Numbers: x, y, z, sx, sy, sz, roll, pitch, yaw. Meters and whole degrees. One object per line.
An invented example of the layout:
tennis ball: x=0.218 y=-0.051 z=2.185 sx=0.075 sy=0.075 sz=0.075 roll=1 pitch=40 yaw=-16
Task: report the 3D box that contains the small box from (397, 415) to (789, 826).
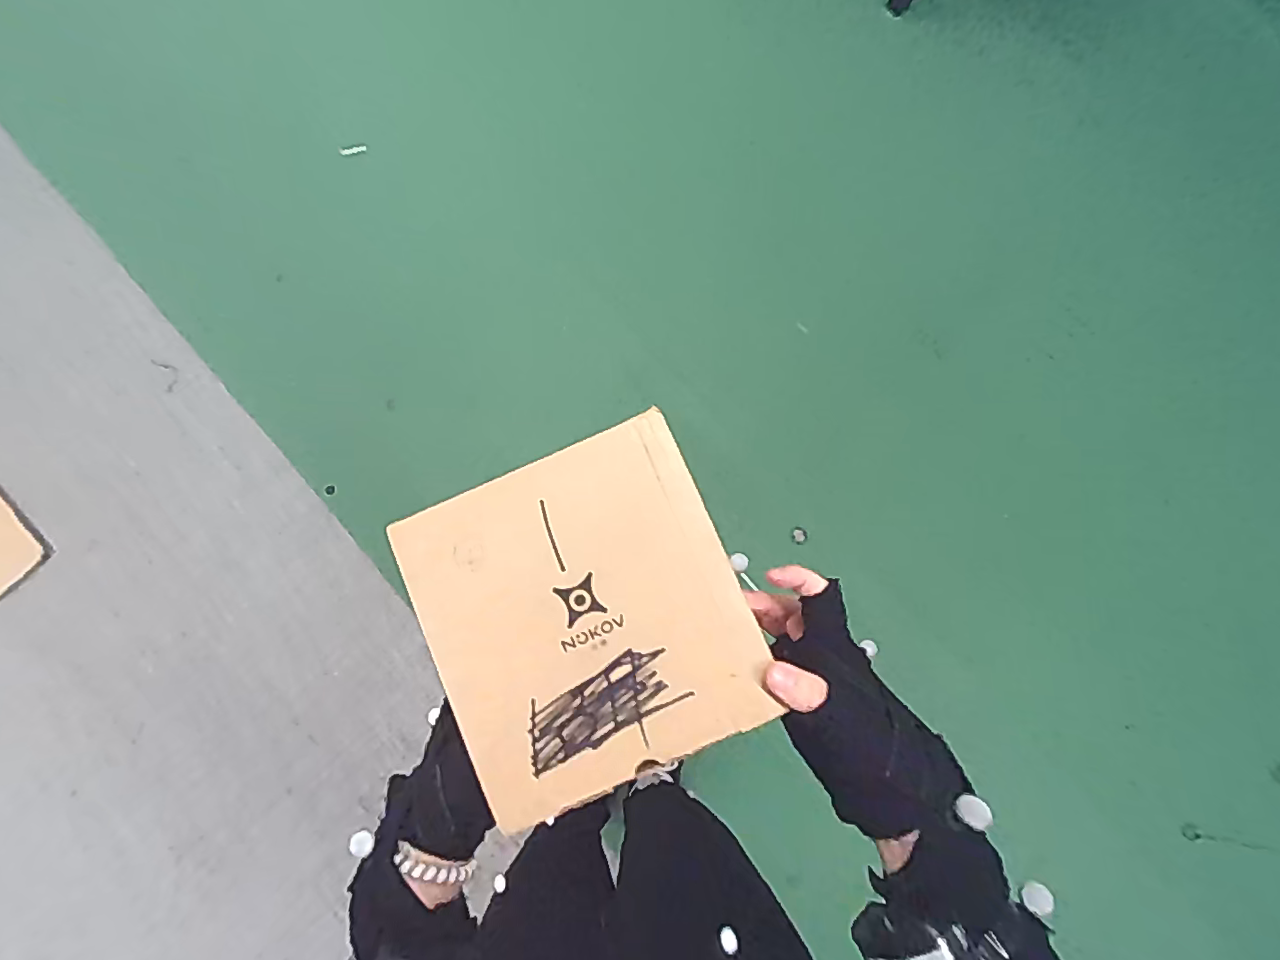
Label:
small box: x=-0.023 y=0.079 z=0.367 sx=0.168 sy=0.176 sz=0.179 roll=-23 pitch=84 yaw=0
